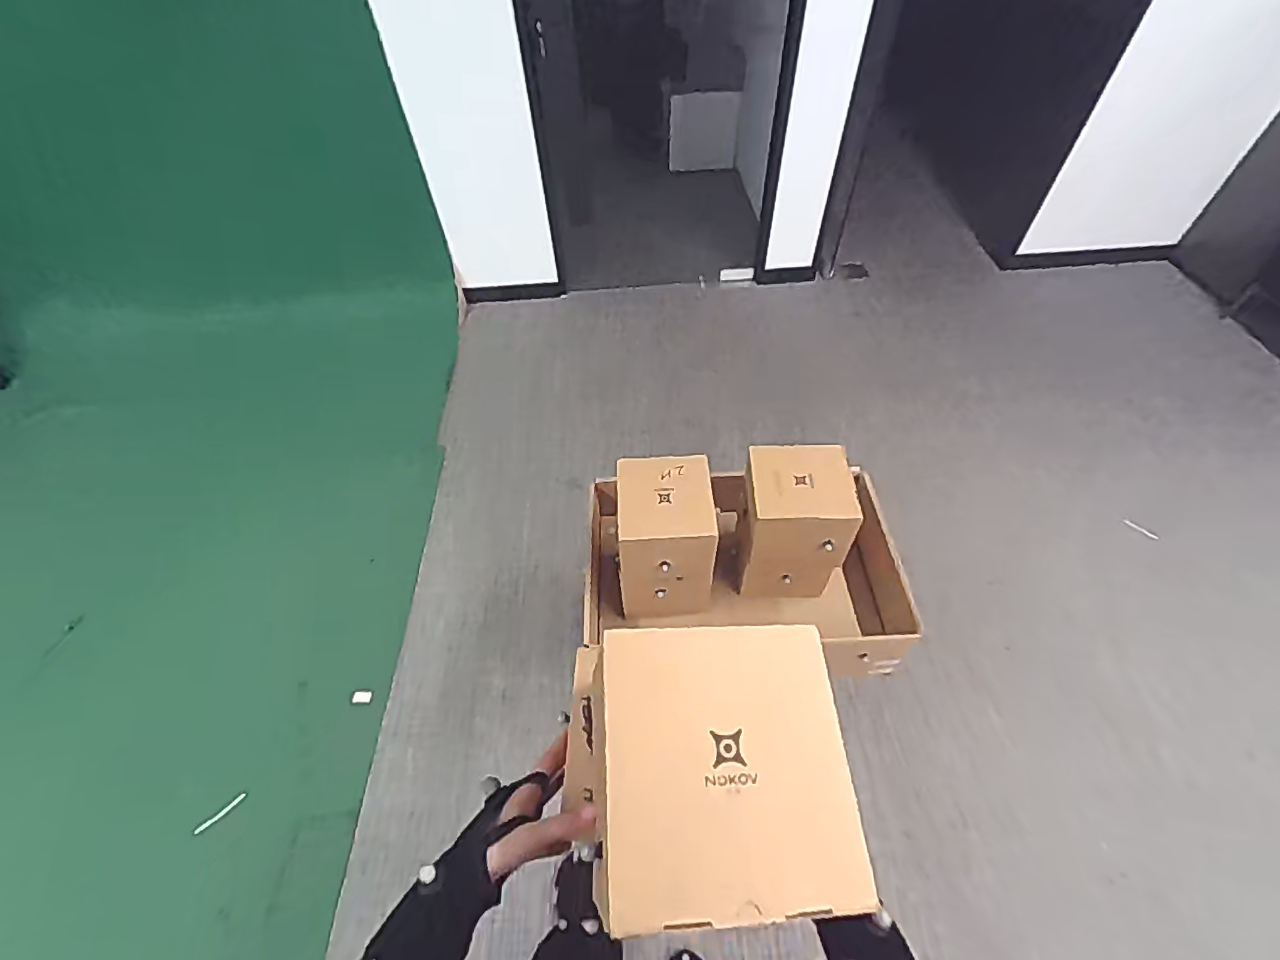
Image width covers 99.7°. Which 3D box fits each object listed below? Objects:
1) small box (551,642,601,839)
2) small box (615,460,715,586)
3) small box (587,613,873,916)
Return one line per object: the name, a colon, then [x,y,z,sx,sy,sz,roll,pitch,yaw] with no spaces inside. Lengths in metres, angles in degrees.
small box: [0.005,0.286,0.571,0.179,0.176,0.168,7,55,-4]
small box: [0.044,0.084,0.988,0.168,0.176,0.179,-3,51,0]
small box: [0.045,0.216,0.424,0.168,0.176,0.179,1,58,-8]
